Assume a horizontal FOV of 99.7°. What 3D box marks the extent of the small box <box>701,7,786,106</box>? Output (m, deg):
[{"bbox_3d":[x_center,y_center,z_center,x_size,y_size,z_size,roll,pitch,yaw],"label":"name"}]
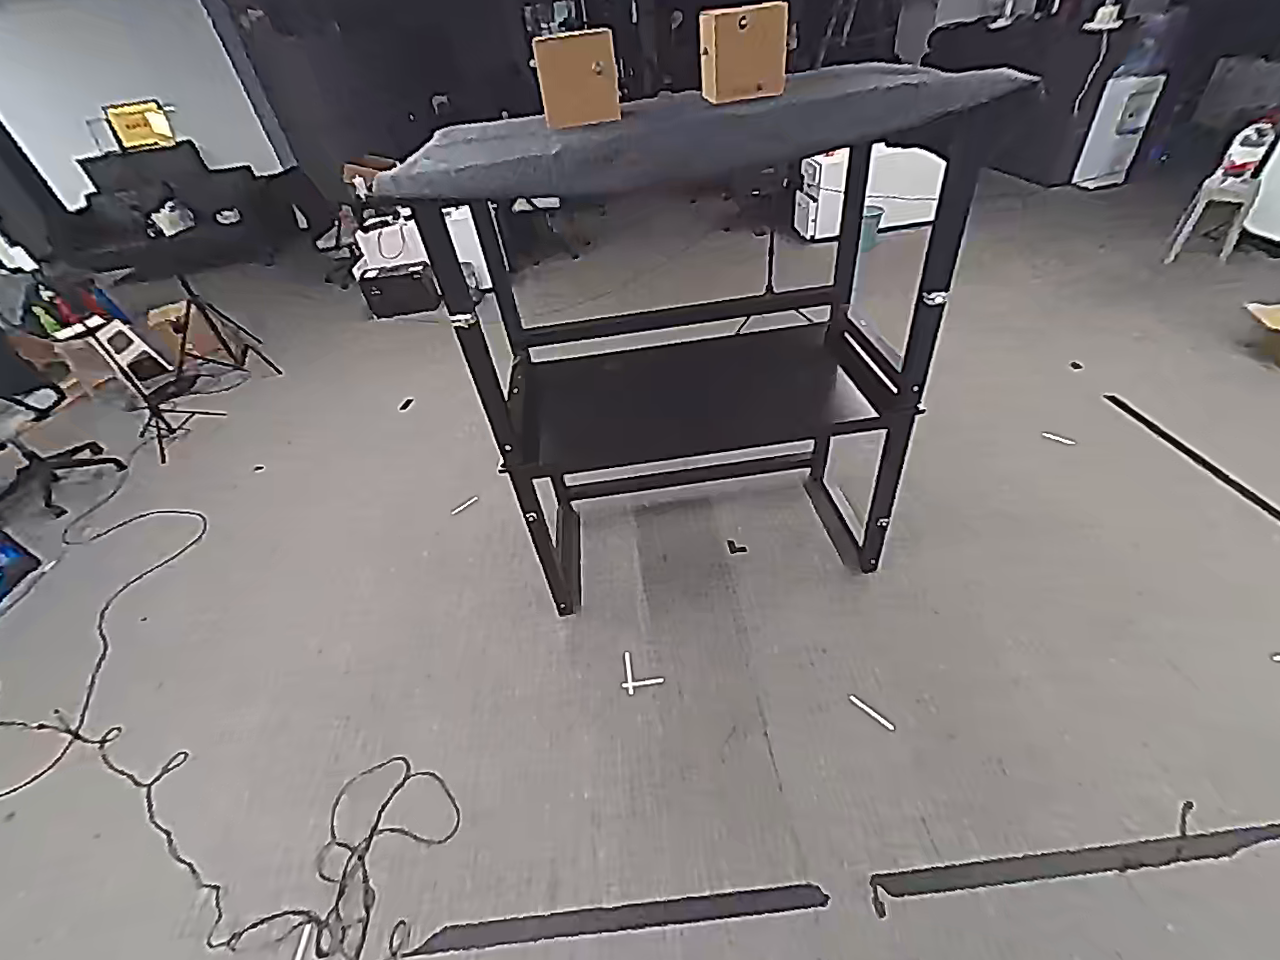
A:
[{"bbox_3d":[0.241,-1.015,1.301,0.168,0.176,0.179,-9,40,0],"label":"small box"}]
